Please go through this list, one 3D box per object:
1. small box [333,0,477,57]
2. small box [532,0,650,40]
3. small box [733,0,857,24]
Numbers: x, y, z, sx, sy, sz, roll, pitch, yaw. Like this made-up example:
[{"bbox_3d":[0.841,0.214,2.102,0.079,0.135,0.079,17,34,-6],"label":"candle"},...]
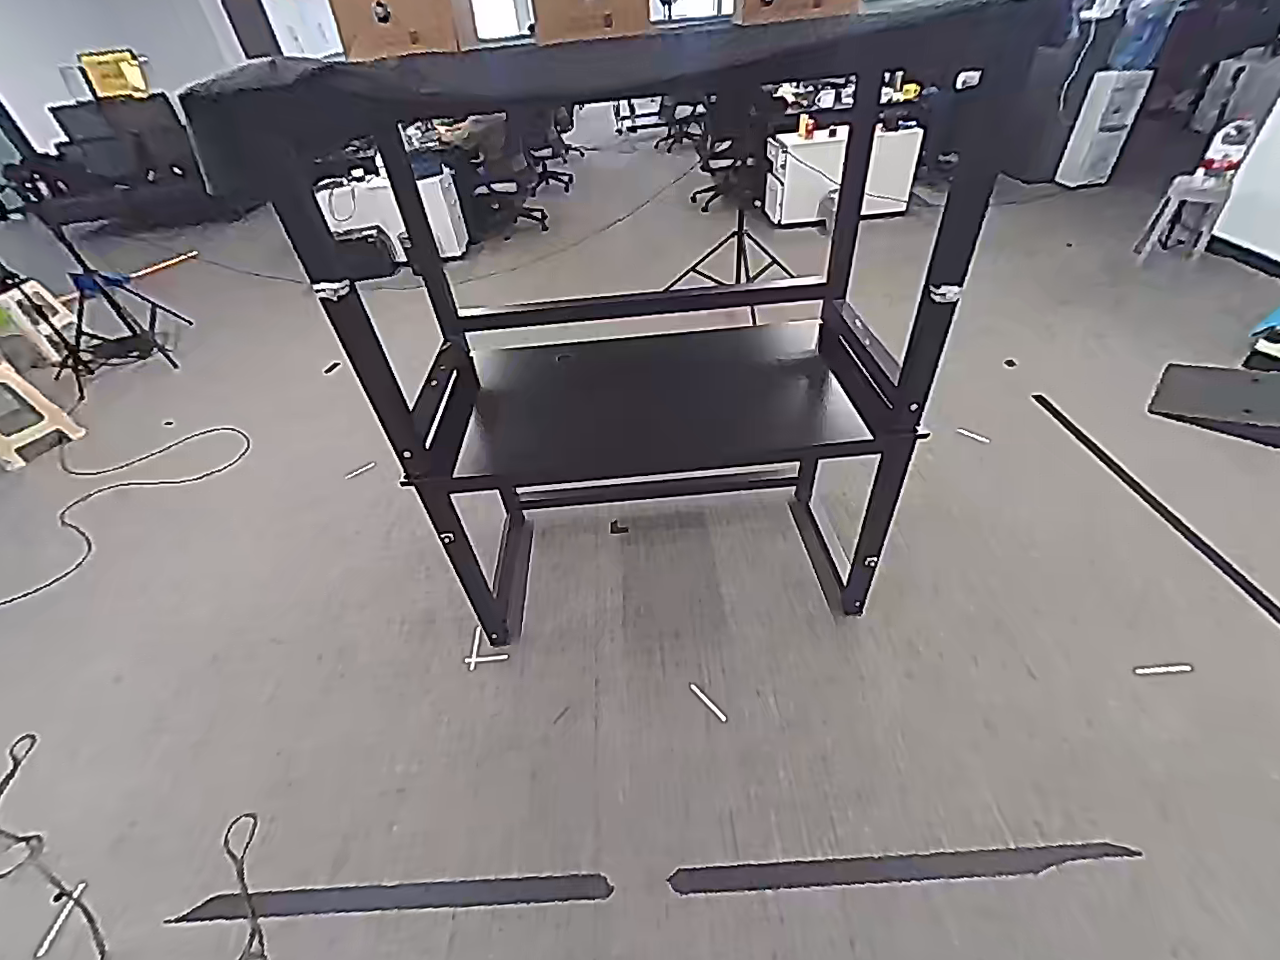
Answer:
[{"bbox_3d":[-0.345,-0.723,0.784,0.168,0.176,0.179,-5,40,0],"label":"small box"},{"bbox_3d":[-0.074,-0.750,0.780,0.168,0.176,0.179,-5,40,2],"label":"small box"},{"bbox_3d":[0.224,-0.778,0.780,0.168,0.176,0.179,-2,40,4],"label":"small box"}]
